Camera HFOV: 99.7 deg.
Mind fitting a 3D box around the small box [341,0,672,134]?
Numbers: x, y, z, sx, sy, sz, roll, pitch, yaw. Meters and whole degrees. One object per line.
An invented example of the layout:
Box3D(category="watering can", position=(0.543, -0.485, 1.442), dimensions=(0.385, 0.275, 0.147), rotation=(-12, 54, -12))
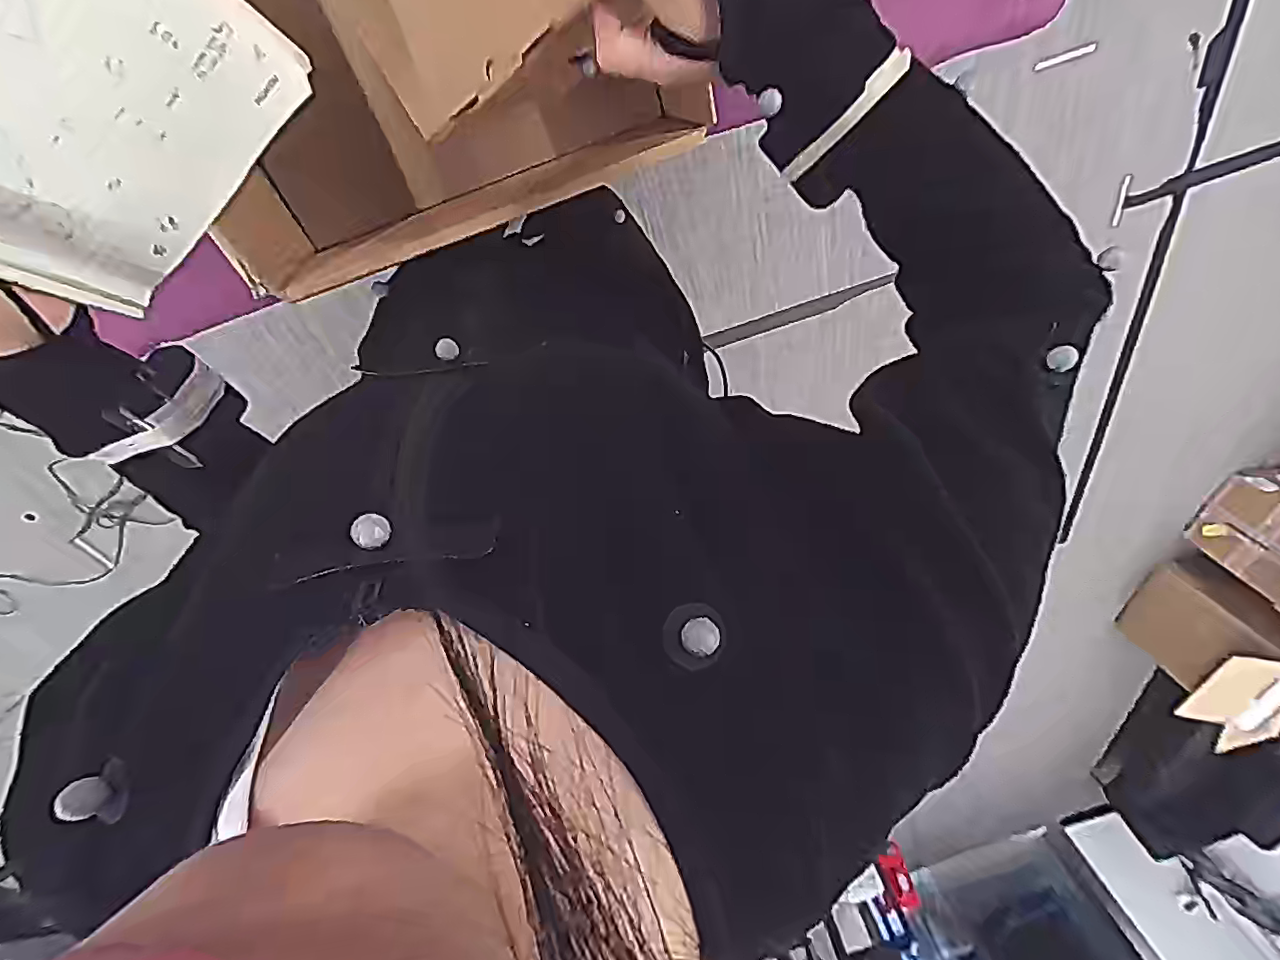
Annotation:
Box3D(category="small box", position=(-0.081, -0.350, 0.316), dimensions=(0.168, 0.176, 0.179), rotation=(-6, 129, 40))
